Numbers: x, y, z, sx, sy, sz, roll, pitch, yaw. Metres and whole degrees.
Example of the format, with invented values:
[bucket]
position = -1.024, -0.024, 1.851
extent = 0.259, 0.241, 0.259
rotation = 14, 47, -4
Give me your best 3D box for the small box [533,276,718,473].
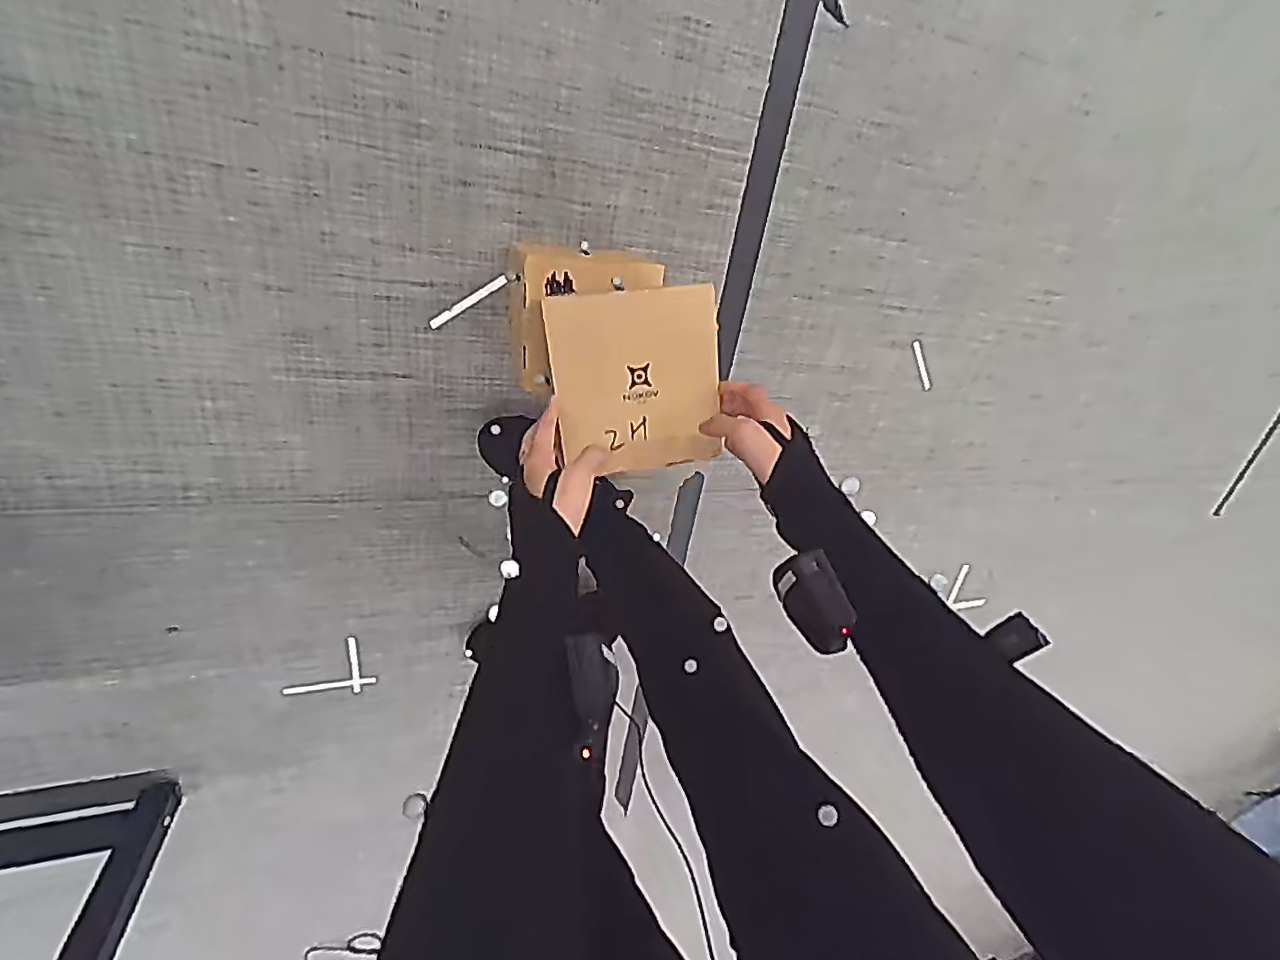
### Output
[small box]
position = -0.022, -0.124, 0.594
extent = 0.168, 0.176, 0.179
rotation = -9, 112, -12
